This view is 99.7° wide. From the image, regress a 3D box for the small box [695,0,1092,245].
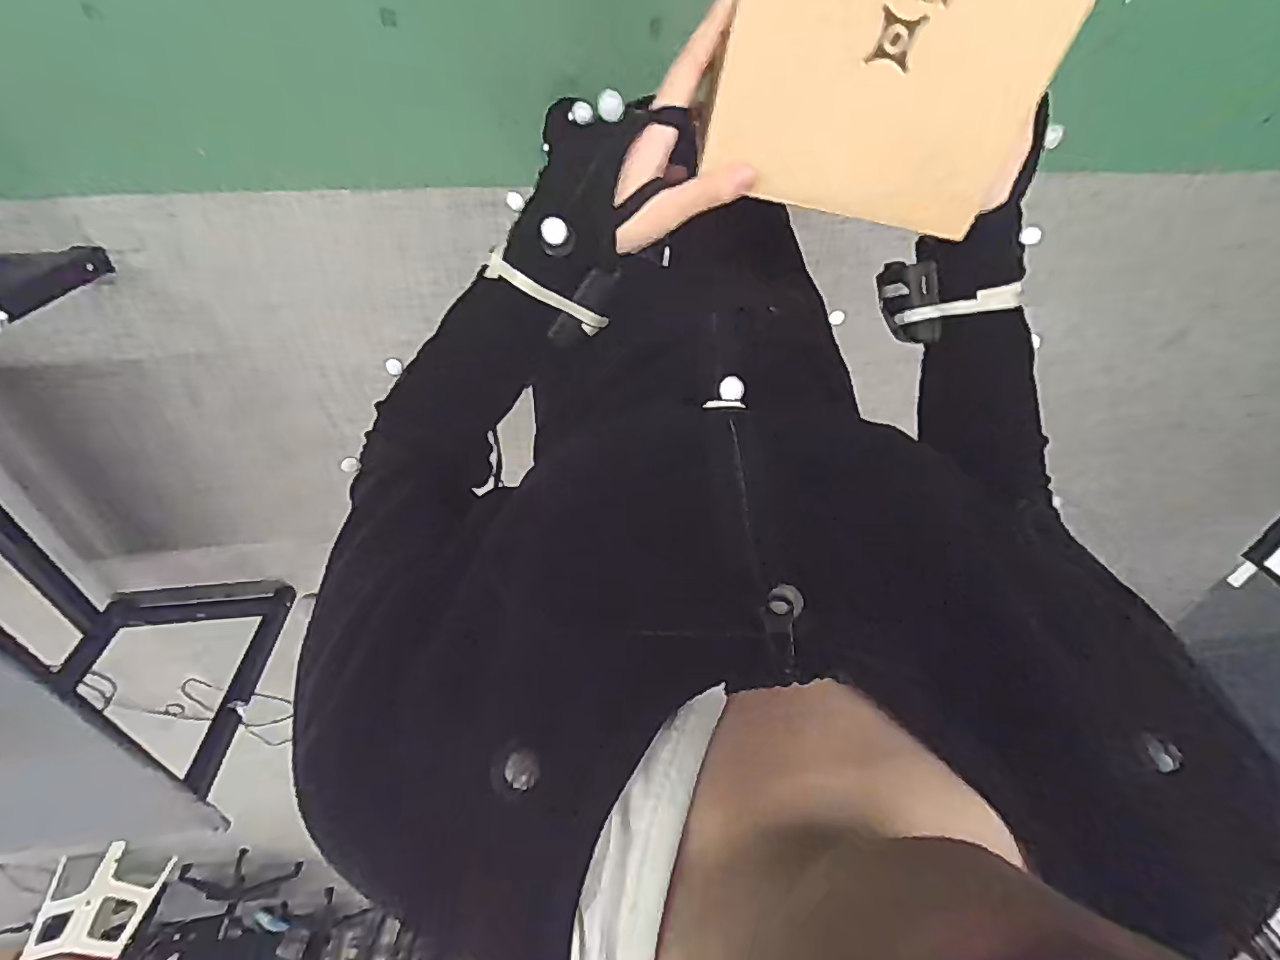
[{"bbox_3d":[0.136,-0.275,0.332,0.168,0.176,0.179,11,131,-3],"label":"small box"}]
